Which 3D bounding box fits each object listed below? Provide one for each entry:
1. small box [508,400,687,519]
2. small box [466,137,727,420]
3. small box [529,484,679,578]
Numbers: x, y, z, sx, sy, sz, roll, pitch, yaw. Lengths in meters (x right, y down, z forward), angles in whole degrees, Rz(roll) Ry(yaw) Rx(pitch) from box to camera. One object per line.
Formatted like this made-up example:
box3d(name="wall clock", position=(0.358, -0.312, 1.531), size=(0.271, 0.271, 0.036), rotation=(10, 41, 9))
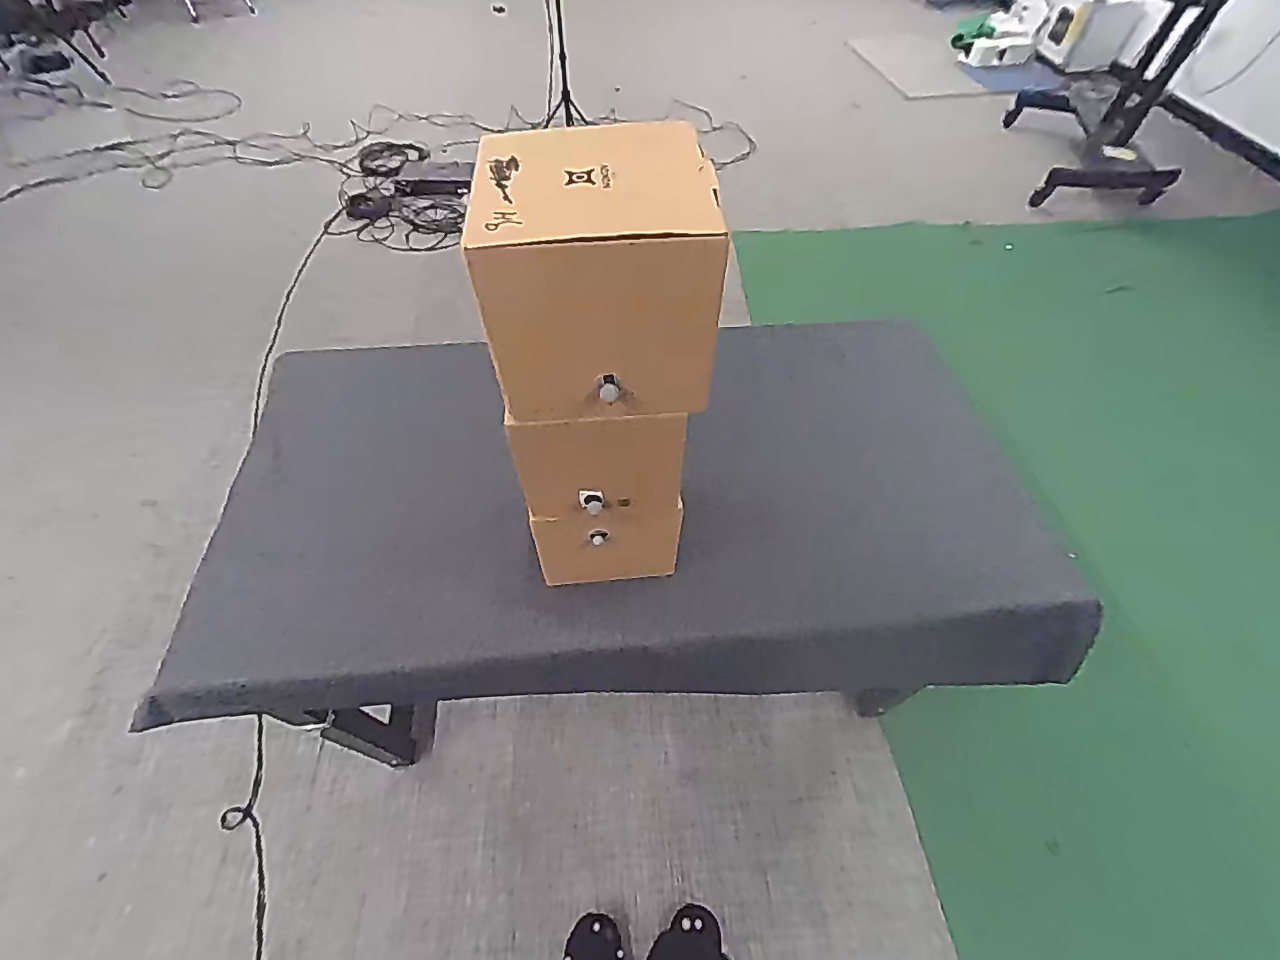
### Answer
box3d(name="small box", position=(-0.045, -0.076, 0.602), size=(0.168, 0.176, 0.179), rotation=(-4, 55, -3))
box3d(name="small box", position=(-0.035, -0.168, 0.467), size=(0.179, 0.176, 0.168), rotation=(-4, 54, -3))
box3d(name="small box", position=(-0.049, 0.021, 0.731), size=(0.179, 0.176, 0.168), rotation=(-4, 54, -5))
